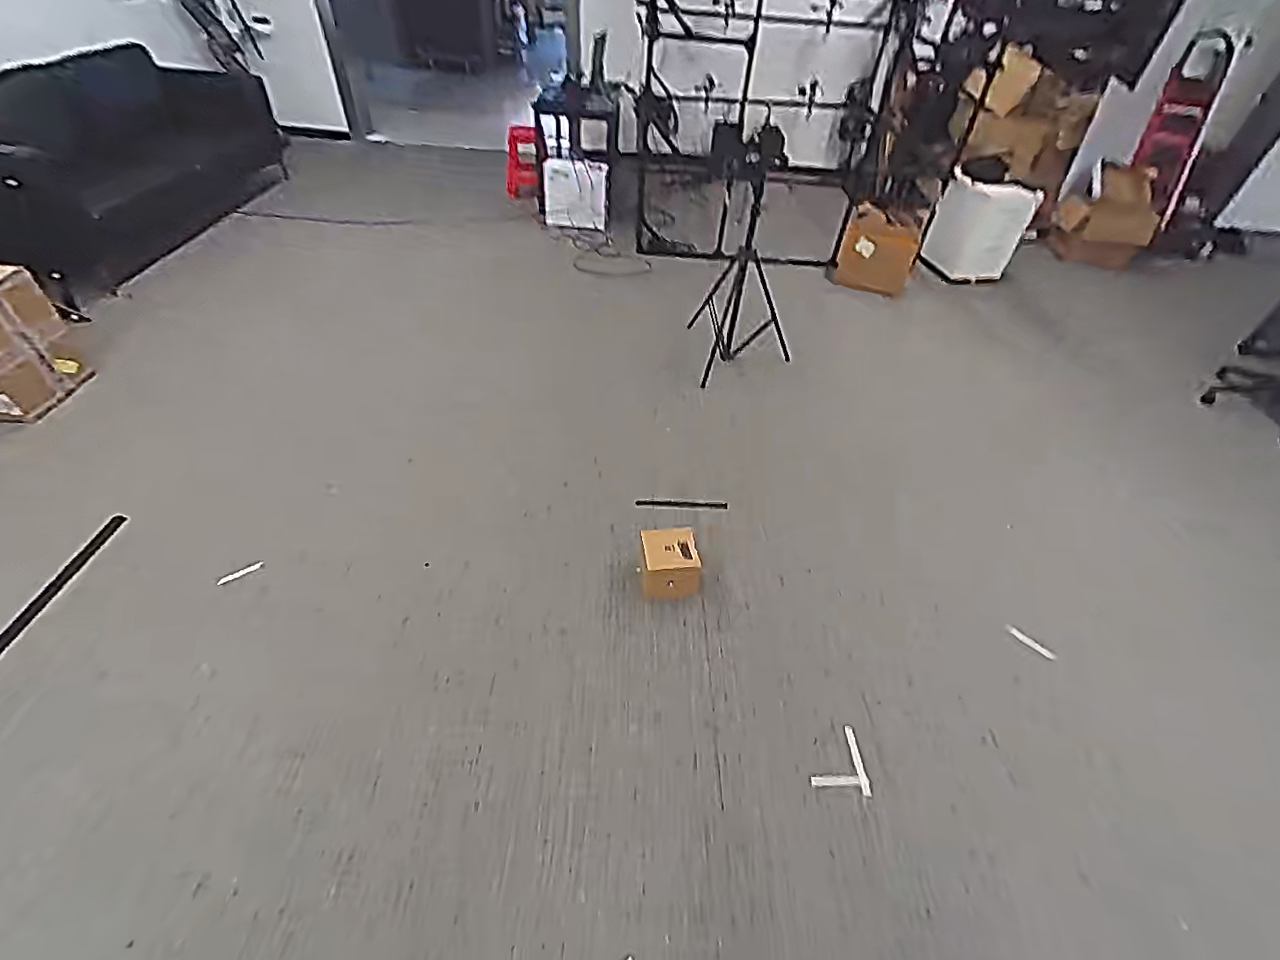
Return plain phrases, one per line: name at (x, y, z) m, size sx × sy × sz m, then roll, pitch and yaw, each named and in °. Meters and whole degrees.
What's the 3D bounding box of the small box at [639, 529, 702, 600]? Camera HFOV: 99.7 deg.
small box at (0.097, 0.285, 1.807) m, size 0.179 × 0.176 × 0.168 m, roll -4°, pitch 44°, yaw -7°
